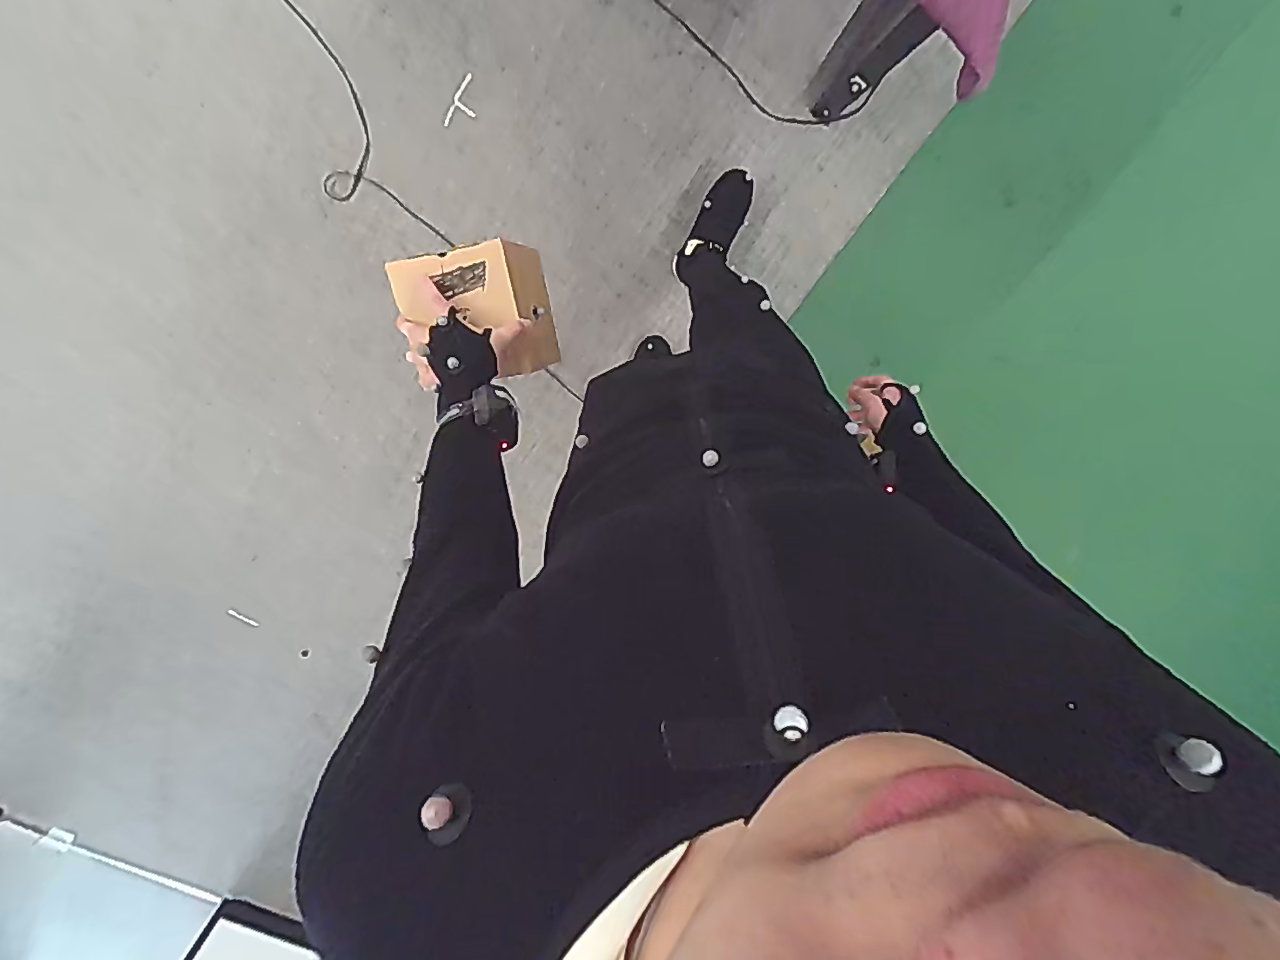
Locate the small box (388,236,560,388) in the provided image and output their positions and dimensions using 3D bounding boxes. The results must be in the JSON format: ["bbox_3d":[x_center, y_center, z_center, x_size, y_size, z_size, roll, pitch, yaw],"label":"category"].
[{"bbox_3d":[-0.231,-0.245,0.799,0.168,0.176,0.179,-7,108,10],"label":"small box"}]
